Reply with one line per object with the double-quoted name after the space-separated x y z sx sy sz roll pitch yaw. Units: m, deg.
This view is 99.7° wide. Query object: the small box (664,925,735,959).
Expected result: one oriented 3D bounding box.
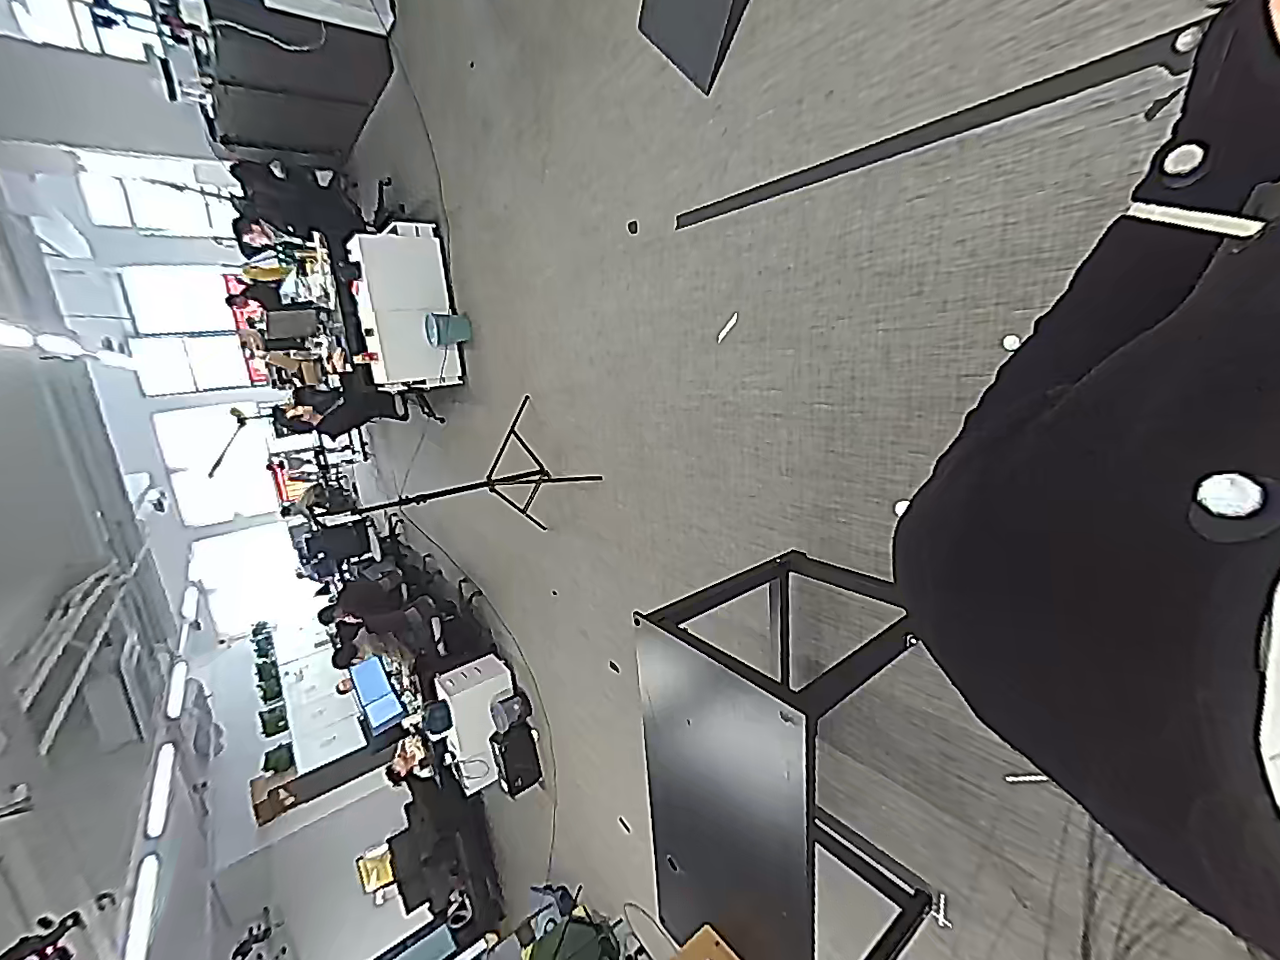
0.185 1.433 1.532 0.168 0.176 0.179 11 111 52 "small box"
